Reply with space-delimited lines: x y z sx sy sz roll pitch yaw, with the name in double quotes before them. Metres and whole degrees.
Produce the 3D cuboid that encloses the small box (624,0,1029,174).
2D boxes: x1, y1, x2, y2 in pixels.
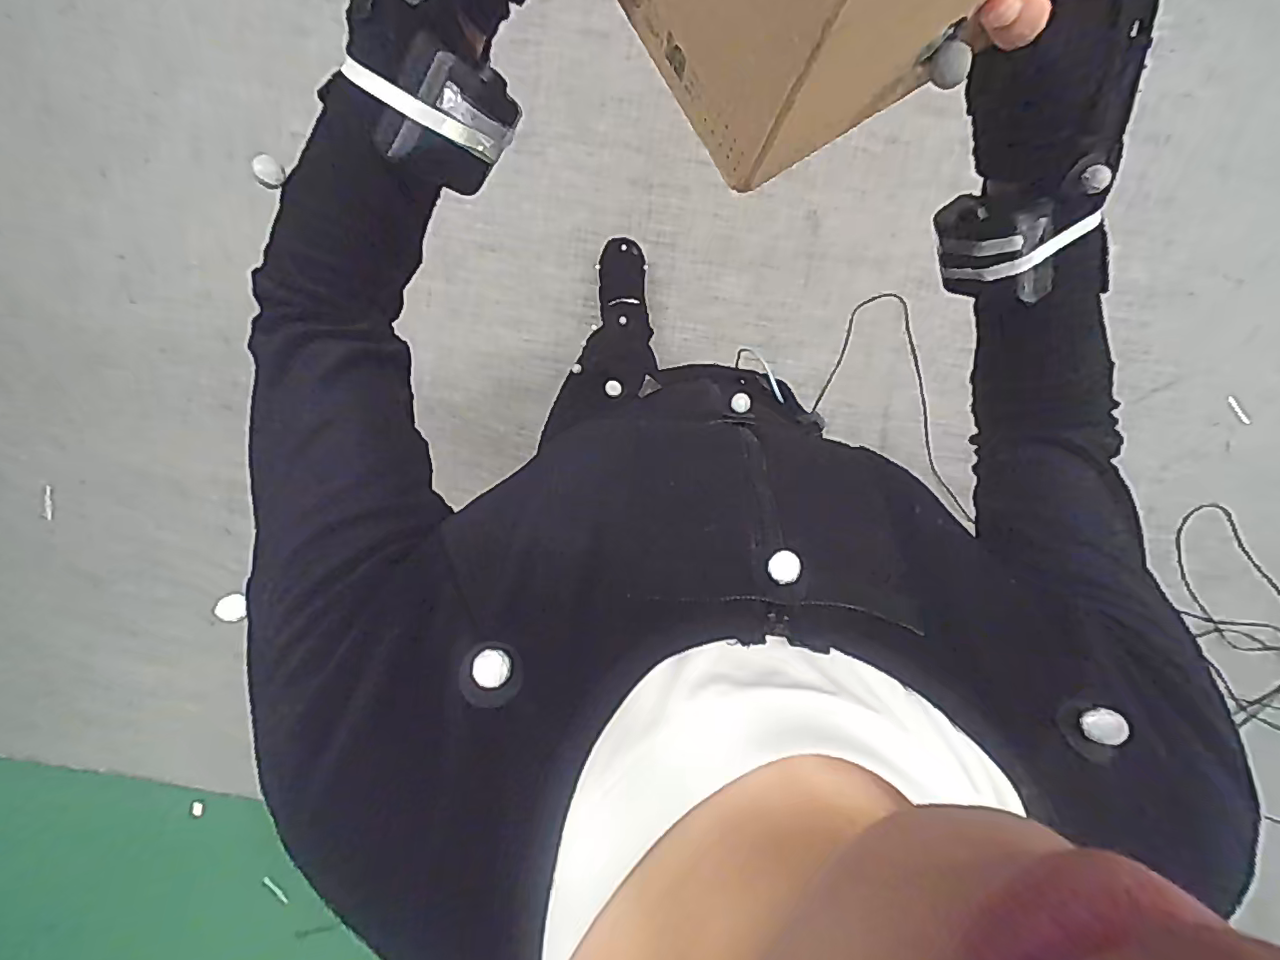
"small box" 0.082 -0.245 0.169 0.179 0.176 0.168 -32 95 -3
